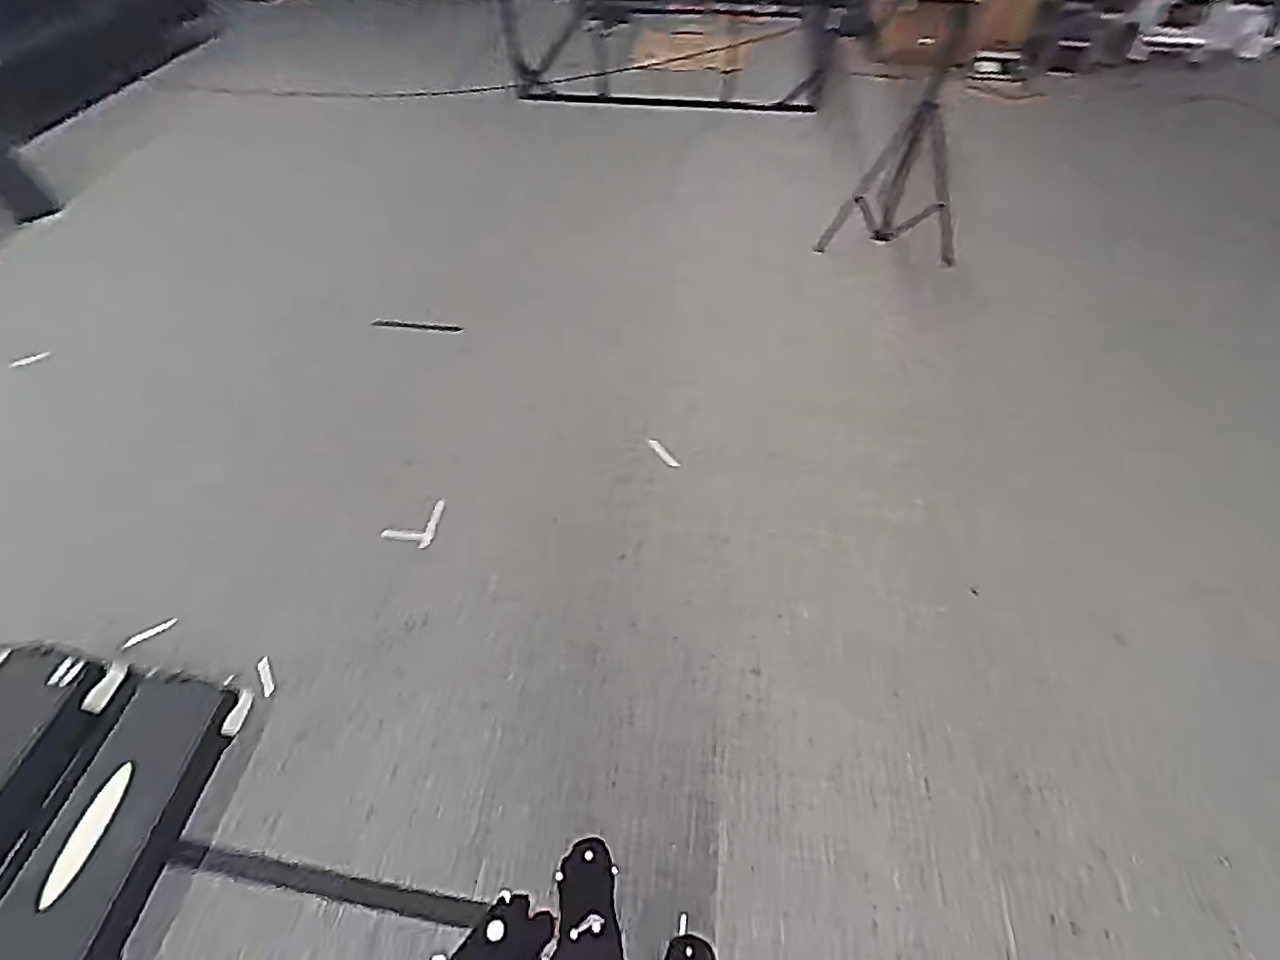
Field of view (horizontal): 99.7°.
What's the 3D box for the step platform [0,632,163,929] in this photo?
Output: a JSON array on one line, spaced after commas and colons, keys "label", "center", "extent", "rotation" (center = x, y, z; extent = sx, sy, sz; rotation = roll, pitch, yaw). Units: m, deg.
[{"label": "step platform", "center": [-1.462, 0.695, 1.217], "extent": [0.286, 0.204, 0.684], "rotation": [5, 53, 5]}]
